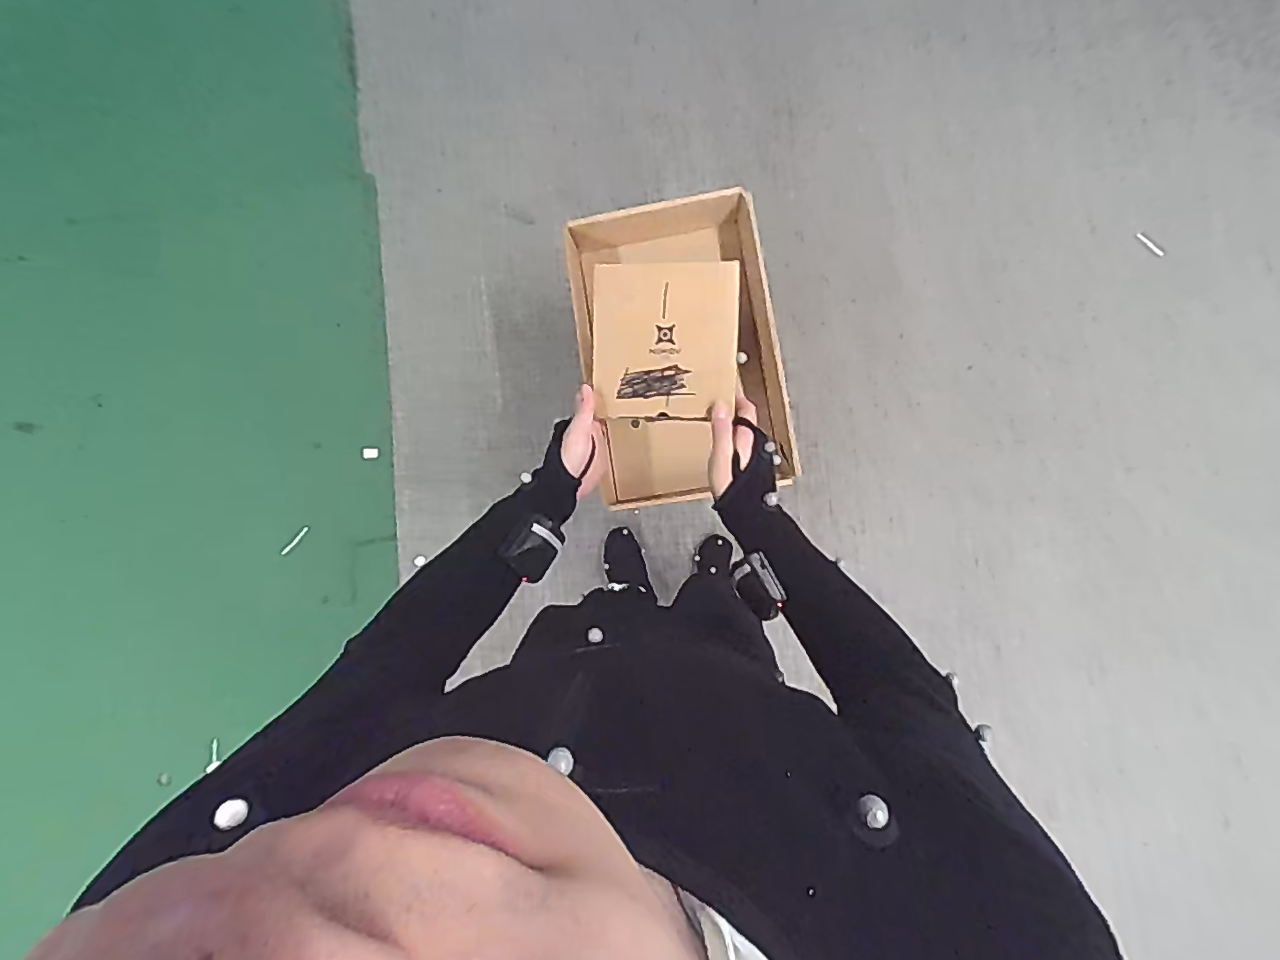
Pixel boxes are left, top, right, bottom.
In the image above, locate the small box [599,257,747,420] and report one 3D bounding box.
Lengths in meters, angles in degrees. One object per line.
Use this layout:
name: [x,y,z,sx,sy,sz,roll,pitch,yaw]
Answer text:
small box: [0.045,-0.167,0.681,0.168,0.176,0.179,1,97,7]
